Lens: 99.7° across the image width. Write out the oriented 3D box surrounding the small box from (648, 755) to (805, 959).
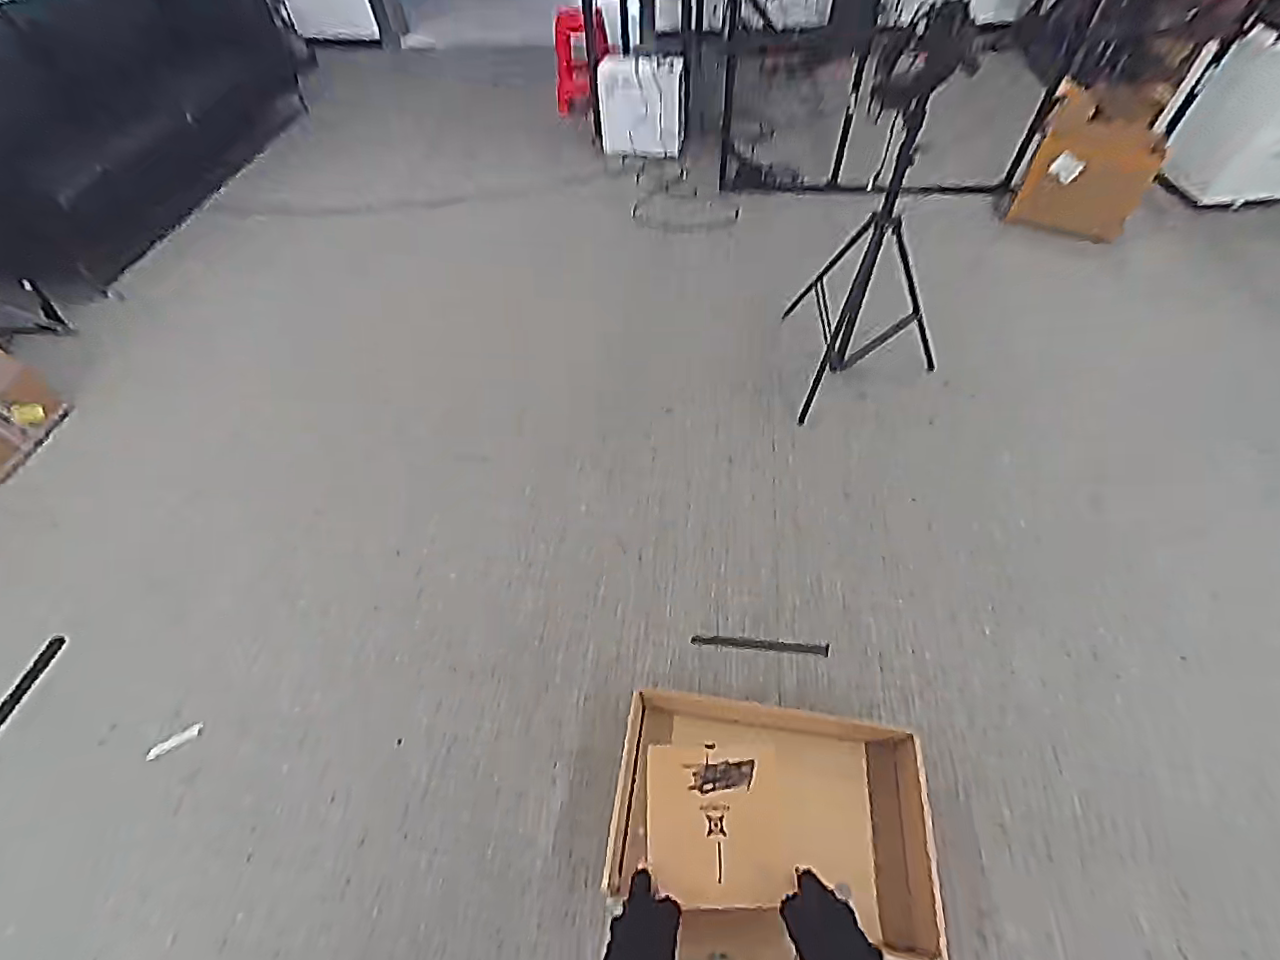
[{"bbox_3d":[0.097,0.473,0.673,0.168,0.176,0.179,-3,30,4],"label":"small box"}]
